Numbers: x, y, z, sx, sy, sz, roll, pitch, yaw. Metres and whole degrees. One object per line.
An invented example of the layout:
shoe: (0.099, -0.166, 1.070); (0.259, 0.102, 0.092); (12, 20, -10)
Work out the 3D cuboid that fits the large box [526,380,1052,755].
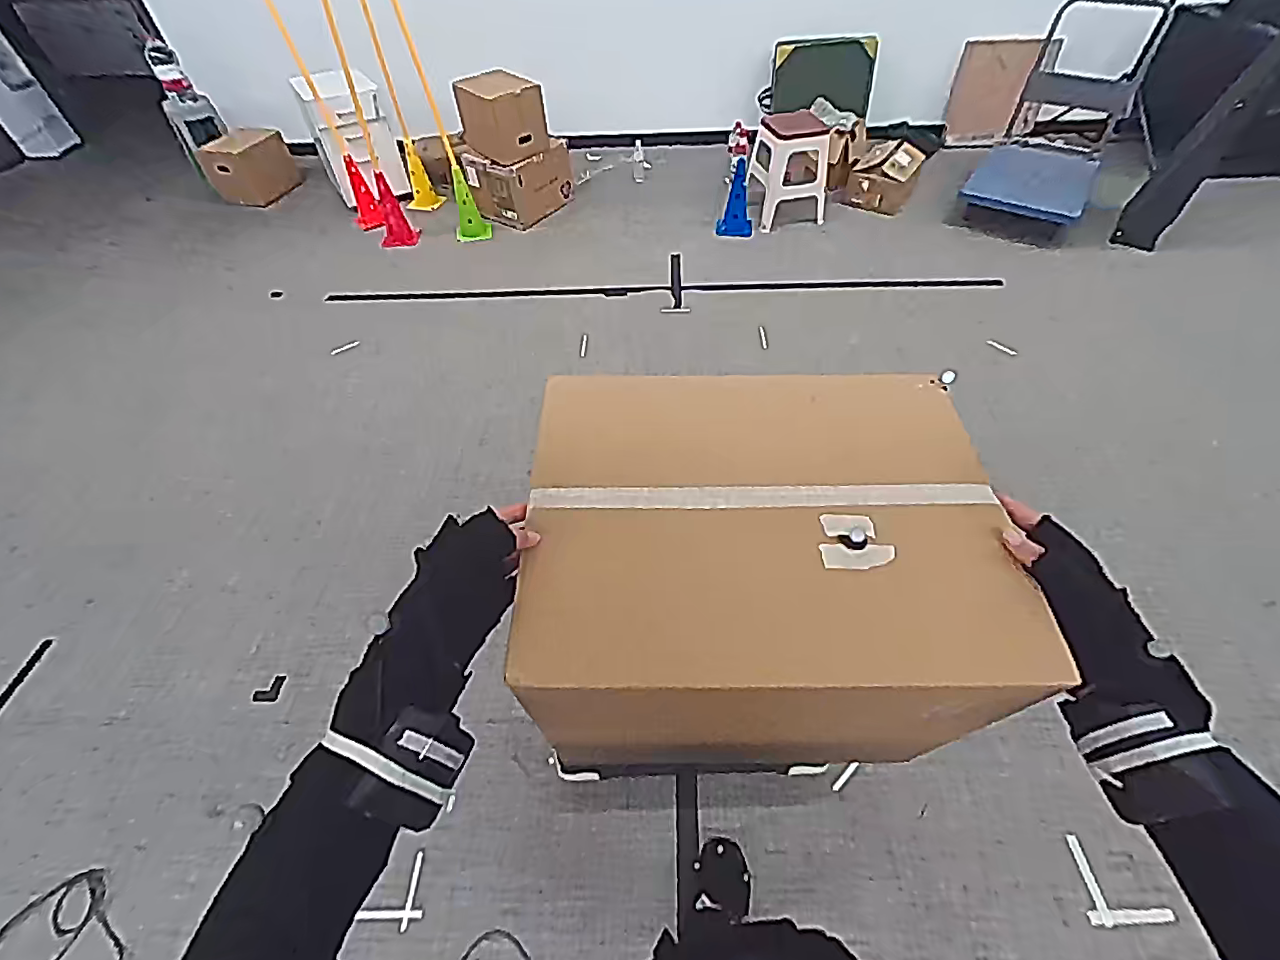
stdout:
large box: (0.107, 0.107, 0.606); (0.408, 0.320, 0.320); (-1, 54, 0)
